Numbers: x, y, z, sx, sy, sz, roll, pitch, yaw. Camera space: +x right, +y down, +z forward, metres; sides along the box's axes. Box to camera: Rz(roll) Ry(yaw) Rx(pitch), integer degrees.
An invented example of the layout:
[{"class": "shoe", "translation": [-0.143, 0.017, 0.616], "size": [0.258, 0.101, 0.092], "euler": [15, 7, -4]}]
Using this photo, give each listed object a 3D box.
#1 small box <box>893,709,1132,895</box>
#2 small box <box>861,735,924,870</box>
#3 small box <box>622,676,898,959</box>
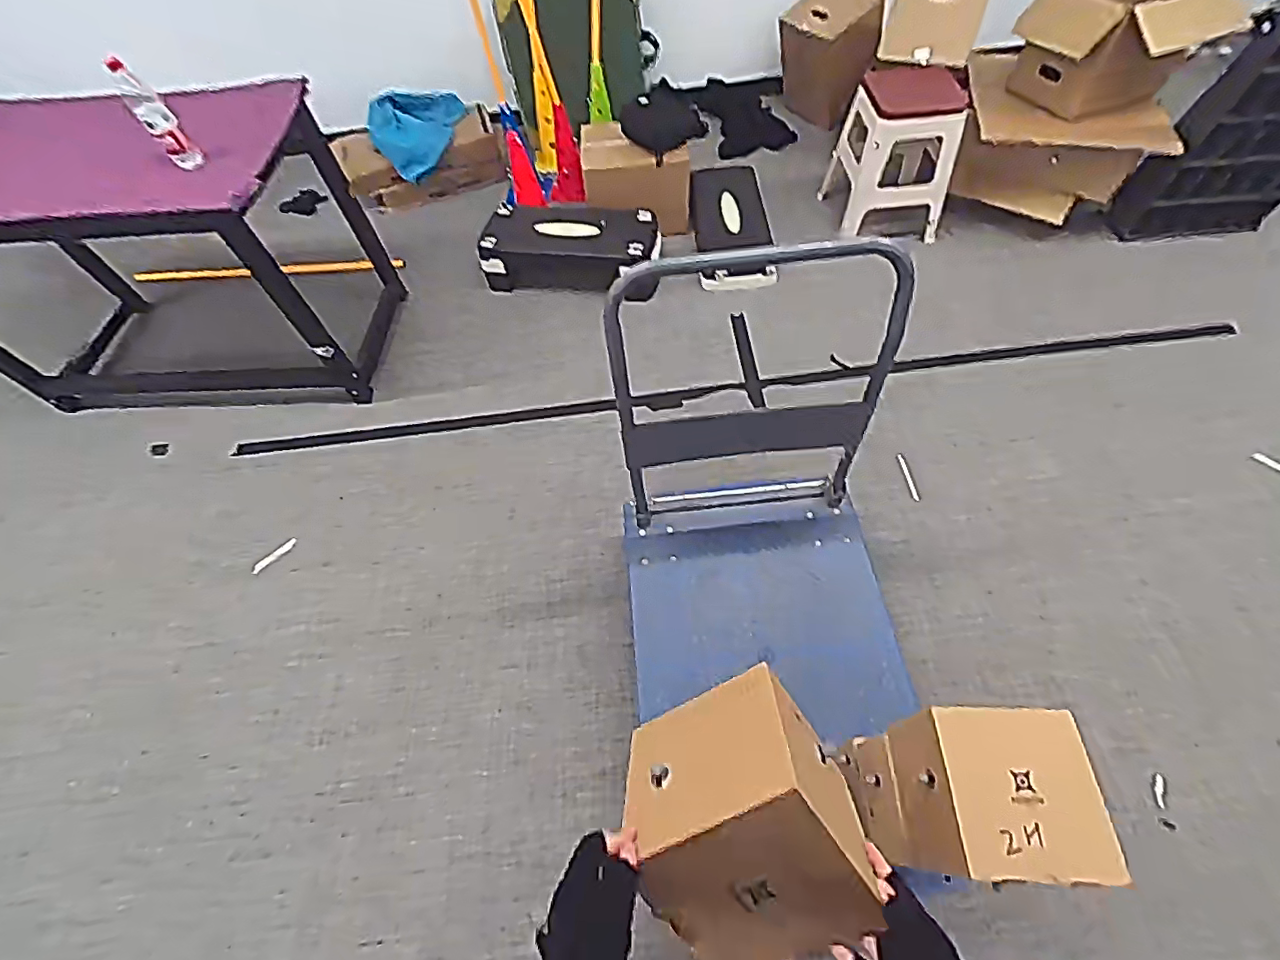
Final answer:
[{"class": "small box", "translation": [0.439, 0.398, 0.678], "size": [0.168, 0.176, 0.179], "euler": [0, 58, 5]}, {"class": "small box", "translation": [0.450, 0.488, 0.816], "size": [0.179, 0.176, 0.168], "euler": [-1, 58, 3]}, {"class": "small box", "translation": [0.105, 0.333, 0.526], "size": [0.179, 0.176, 0.168], "euler": [-34, 103, 12]}]
